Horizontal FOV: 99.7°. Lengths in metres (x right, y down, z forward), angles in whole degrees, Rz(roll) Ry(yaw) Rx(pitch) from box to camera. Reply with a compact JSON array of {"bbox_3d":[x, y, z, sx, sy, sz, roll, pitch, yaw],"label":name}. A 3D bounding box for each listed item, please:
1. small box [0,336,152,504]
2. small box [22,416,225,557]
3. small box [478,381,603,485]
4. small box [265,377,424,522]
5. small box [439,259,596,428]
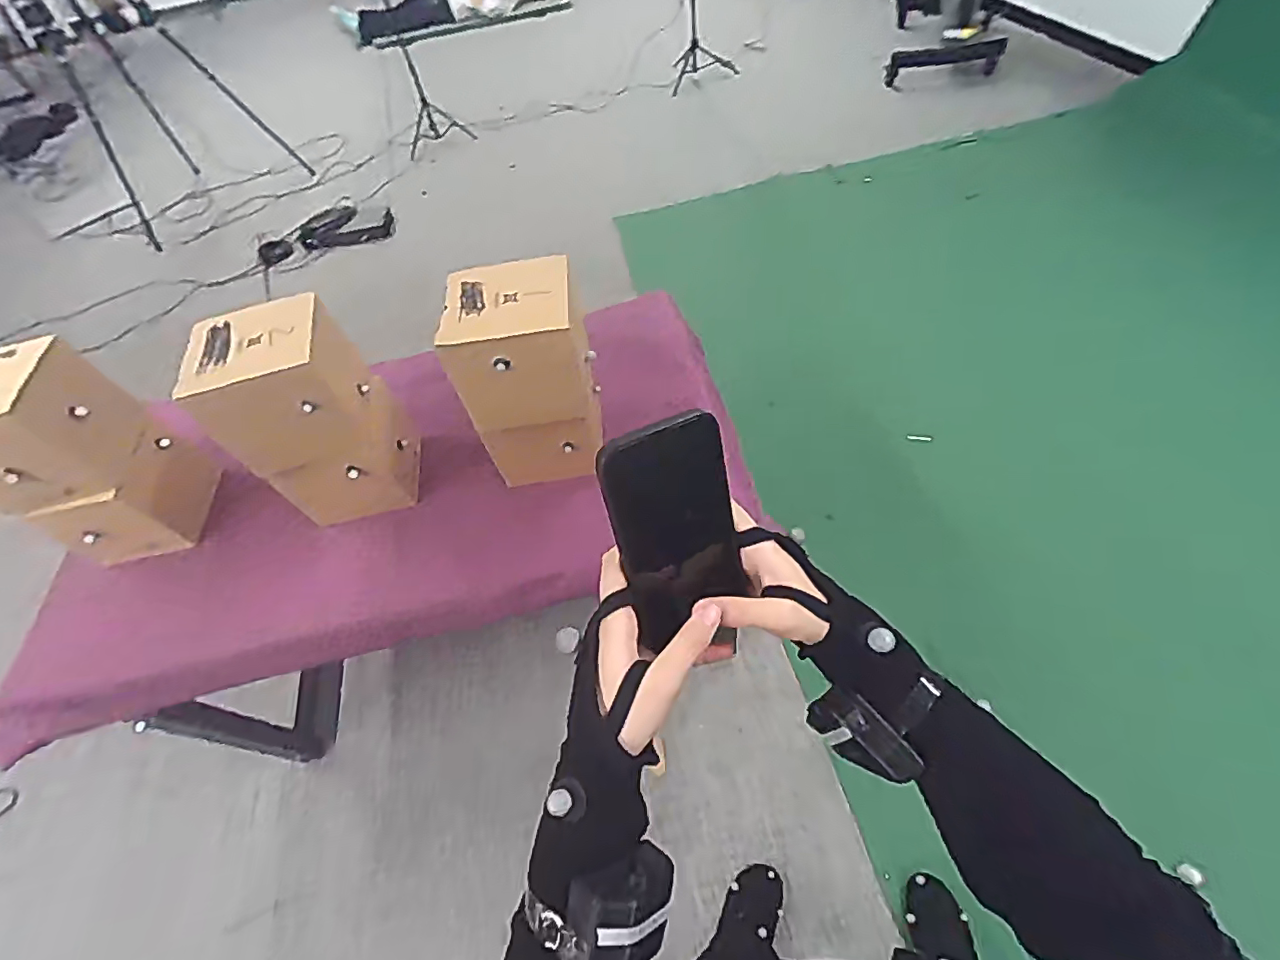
[{"bbox_3d":[-0.901,-0.082,0.819,0.168,0.176,0.179,-16,55,-4],"label":"small box"},{"bbox_3d":[-0.880,0.020,0.946,0.168,0.176,0.179,-12,54,0],"label":"small box"},{"bbox_3d":[-0.159,-0.109,0.934,0.179,0.176,0.168,-7,54,3],"label":"small box"},{"bbox_3d":[-0.495,-0.048,0.938,0.179,0.176,0.168,-12,54,-1],"label":"small box"},{"bbox_3d":[-0.167,-0.193,0.793,0.179,0.176,0.168,-7,54,2],"label":"small box"}]
